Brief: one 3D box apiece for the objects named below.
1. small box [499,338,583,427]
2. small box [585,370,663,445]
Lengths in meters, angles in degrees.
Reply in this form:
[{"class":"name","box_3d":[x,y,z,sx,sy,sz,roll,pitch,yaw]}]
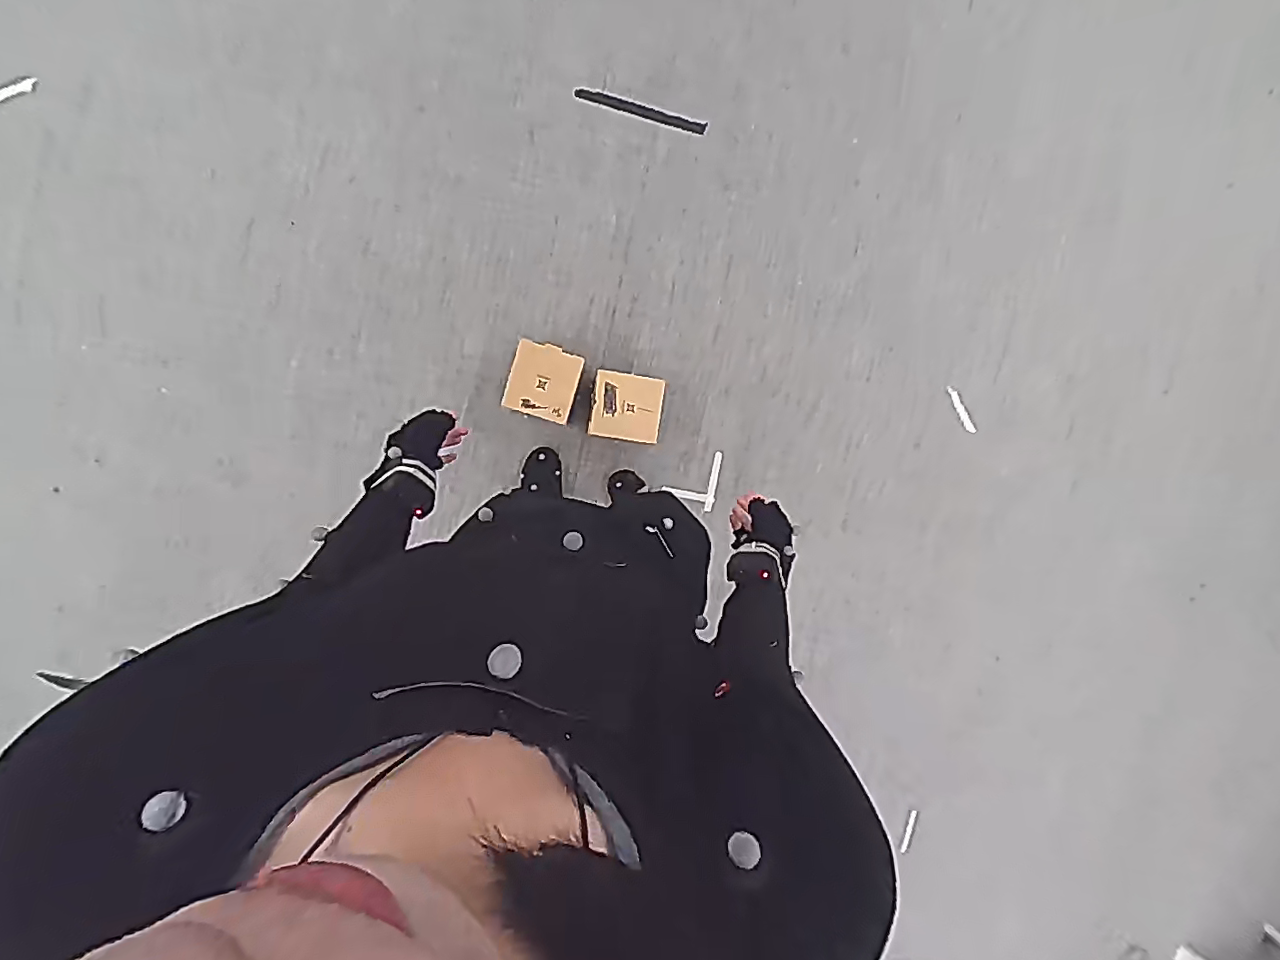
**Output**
[{"class":"small box","box_3d":[-0.253,-0.246,1.410,0.168,0.176,0.179,18,91,-7]},{"class":"small box","box_3d":[-0.048,-0.186,1.438,0.179,0.176,0.168,9,93,-8]}]
